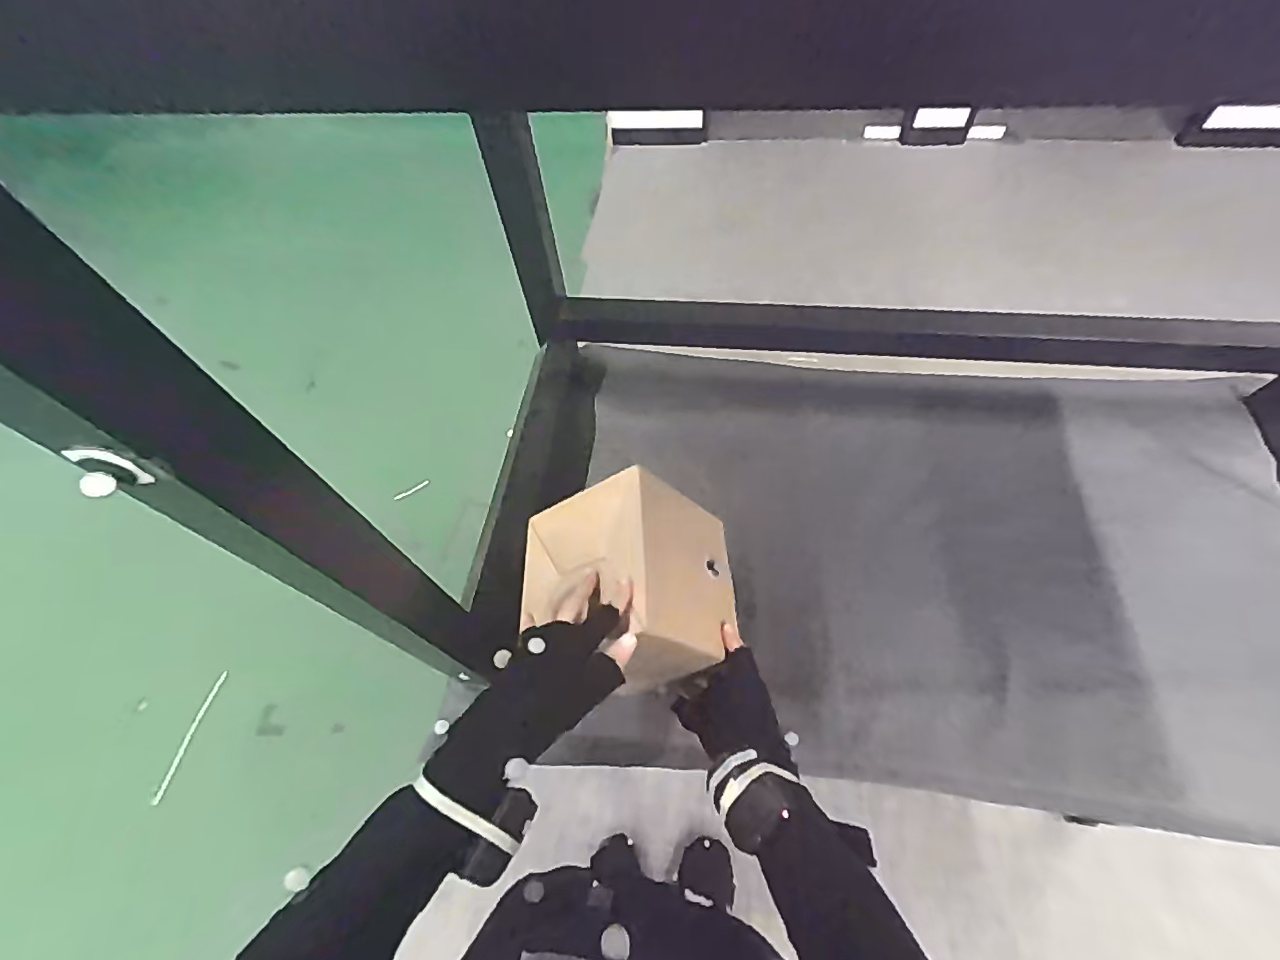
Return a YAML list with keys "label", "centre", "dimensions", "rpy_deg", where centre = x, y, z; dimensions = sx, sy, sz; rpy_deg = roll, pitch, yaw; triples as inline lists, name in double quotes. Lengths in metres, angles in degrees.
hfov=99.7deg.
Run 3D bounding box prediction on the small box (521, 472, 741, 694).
- label: "small box"
  centre: [-0.012, 0.117, 0.595]
  dimensions: [0.168, 0.176, 0.179]
  rpy_deg: [-27, 48, 29]
